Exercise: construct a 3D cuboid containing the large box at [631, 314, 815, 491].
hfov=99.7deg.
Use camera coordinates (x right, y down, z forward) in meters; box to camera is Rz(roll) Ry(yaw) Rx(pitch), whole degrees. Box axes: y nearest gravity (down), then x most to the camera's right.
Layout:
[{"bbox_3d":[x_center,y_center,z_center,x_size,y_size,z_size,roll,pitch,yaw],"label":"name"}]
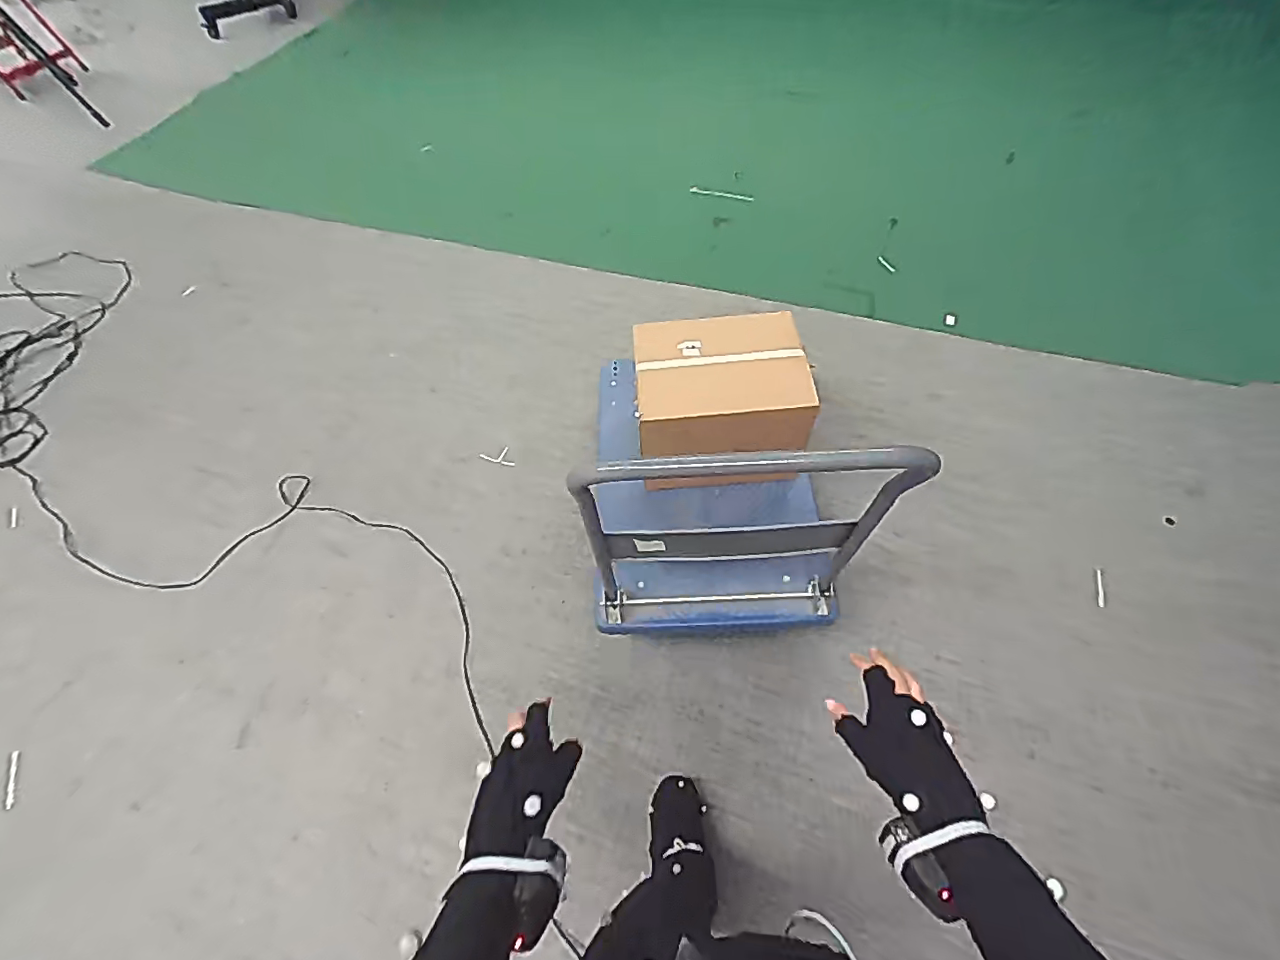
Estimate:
[{"bbox_3d":[0.198,-0.193,1.420,0.408,0.320,0.320,-6,57,1],"label":"large box"}]
